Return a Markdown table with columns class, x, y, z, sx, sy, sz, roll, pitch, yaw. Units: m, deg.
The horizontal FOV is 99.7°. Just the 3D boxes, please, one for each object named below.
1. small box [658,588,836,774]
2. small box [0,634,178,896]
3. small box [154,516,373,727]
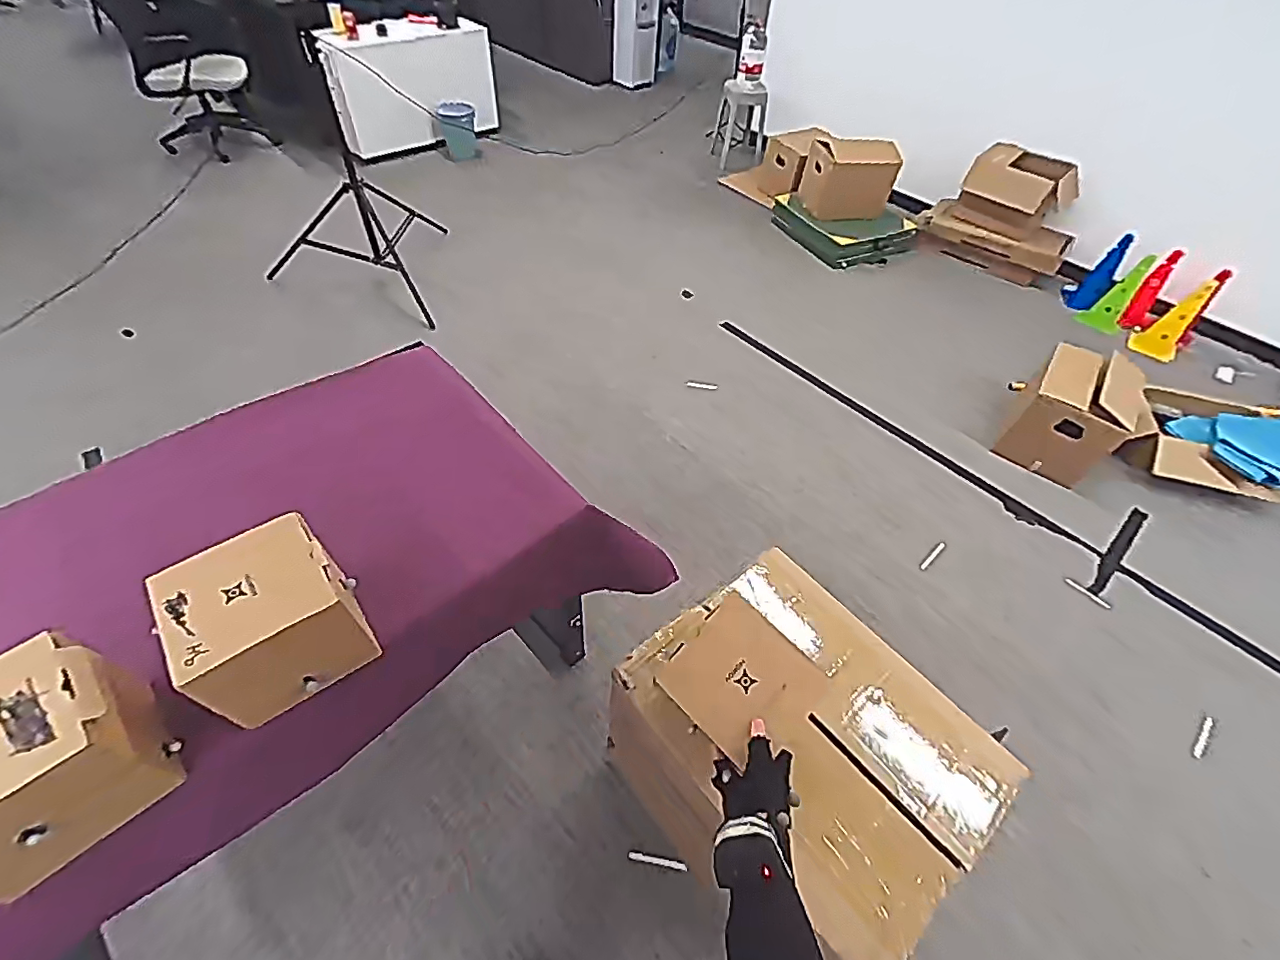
| class | x | y | z | sx | sy | sz | roll | pitch | yaw |
| --- | --- | --- | --- | --- | --- | --- | --- | --- | --- |
| small box | 0.140 | 0.290 | 0.778 | 0.179 | 0.176 | 0.168 | 41 | 73 | 19 |
| small box | -0.659 | 0.311 | 0.592 | 0.179 | 0.176 | 0.168 | -36 | 60 | -28 |
| small box | -0.477 | 0.186 | 0.713 | 0.179 | 0.176 | 0.168 | -29 | 57 | -26 |
